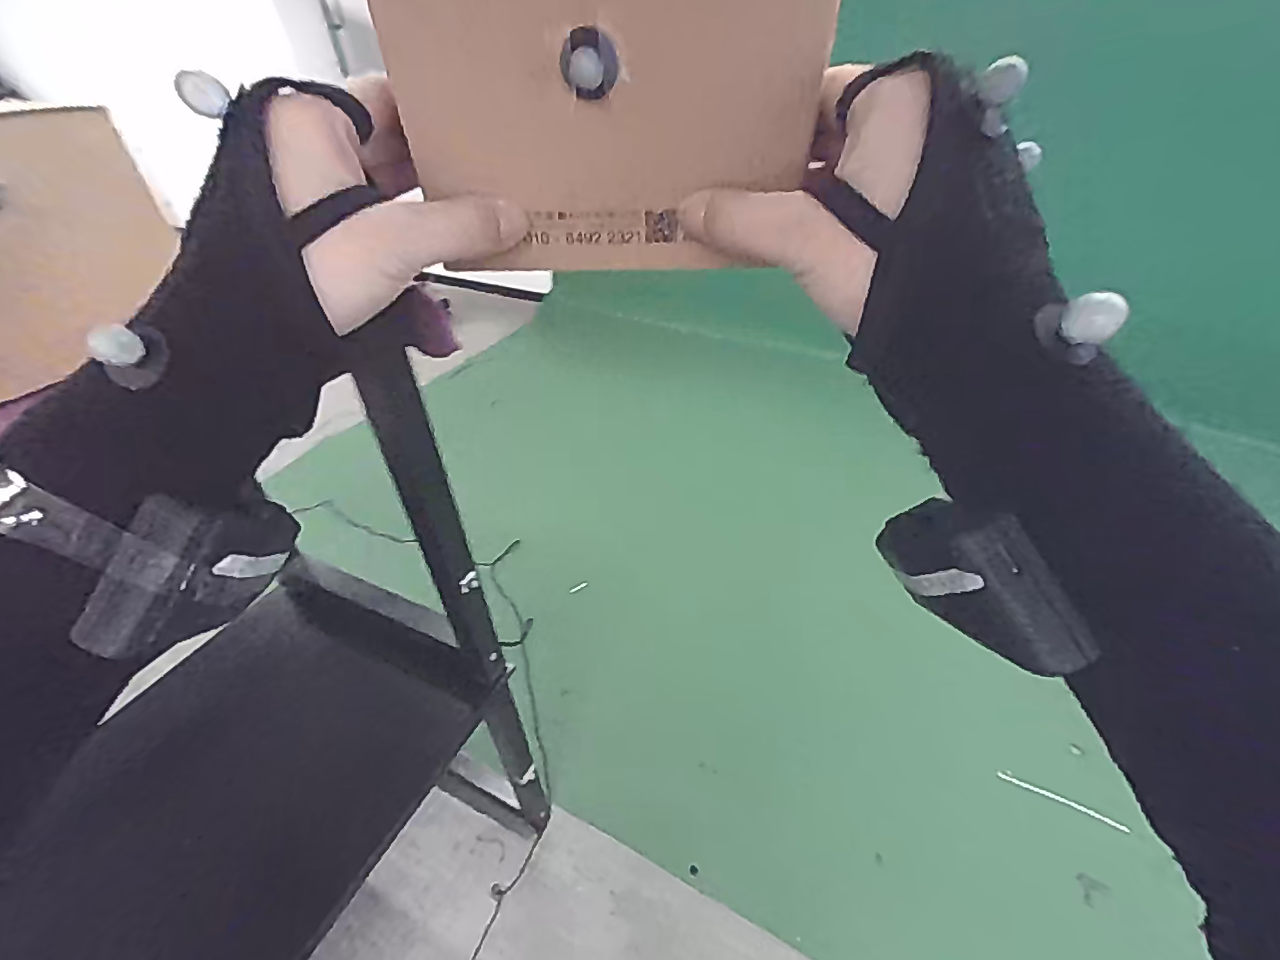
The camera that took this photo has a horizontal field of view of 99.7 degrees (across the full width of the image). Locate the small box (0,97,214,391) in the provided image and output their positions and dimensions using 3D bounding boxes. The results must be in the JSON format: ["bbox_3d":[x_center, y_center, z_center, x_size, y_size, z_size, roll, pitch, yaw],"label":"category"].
[{"bbox_3d":[-0.496,-0.184,0.417,0.168,0.176,0.179,16,42,22],"label":"small box"}]

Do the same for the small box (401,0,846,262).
[{"bbox_3d":[-0.002,-0.218,0.258,0.168,0.176,0.179,1,46,2],"label":"small box"}]
